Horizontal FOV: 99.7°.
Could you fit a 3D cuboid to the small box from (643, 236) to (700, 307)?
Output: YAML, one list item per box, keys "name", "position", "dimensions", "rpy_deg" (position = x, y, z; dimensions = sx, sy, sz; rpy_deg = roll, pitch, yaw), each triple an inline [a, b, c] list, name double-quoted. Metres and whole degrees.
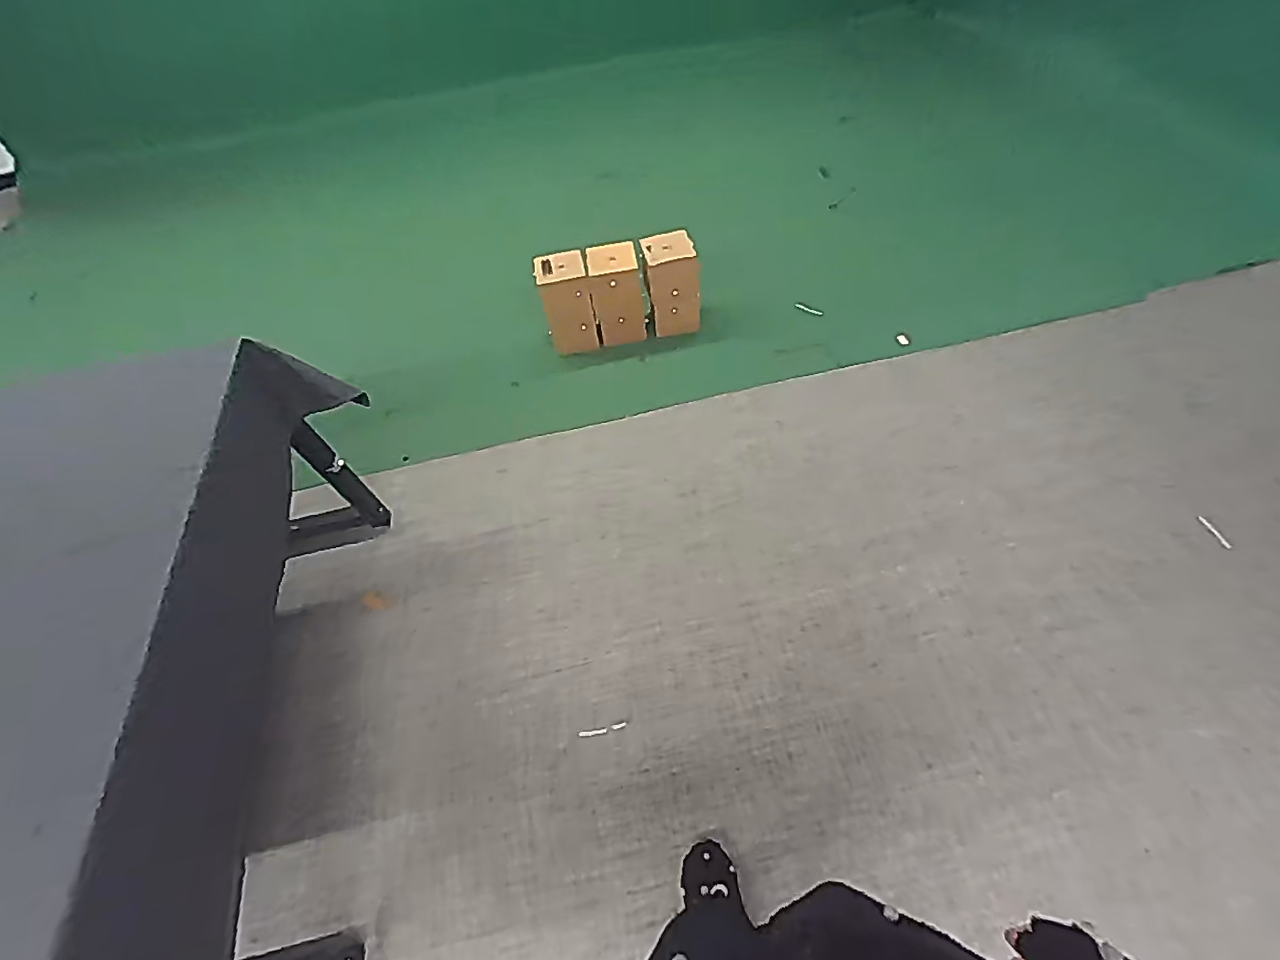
- name: "small box"
  position: [0.115, -0.766, 1.996]
  dimensions: [0.179, 0.176, 0.168]
  rpy_deg: [-12, 55, -3]
